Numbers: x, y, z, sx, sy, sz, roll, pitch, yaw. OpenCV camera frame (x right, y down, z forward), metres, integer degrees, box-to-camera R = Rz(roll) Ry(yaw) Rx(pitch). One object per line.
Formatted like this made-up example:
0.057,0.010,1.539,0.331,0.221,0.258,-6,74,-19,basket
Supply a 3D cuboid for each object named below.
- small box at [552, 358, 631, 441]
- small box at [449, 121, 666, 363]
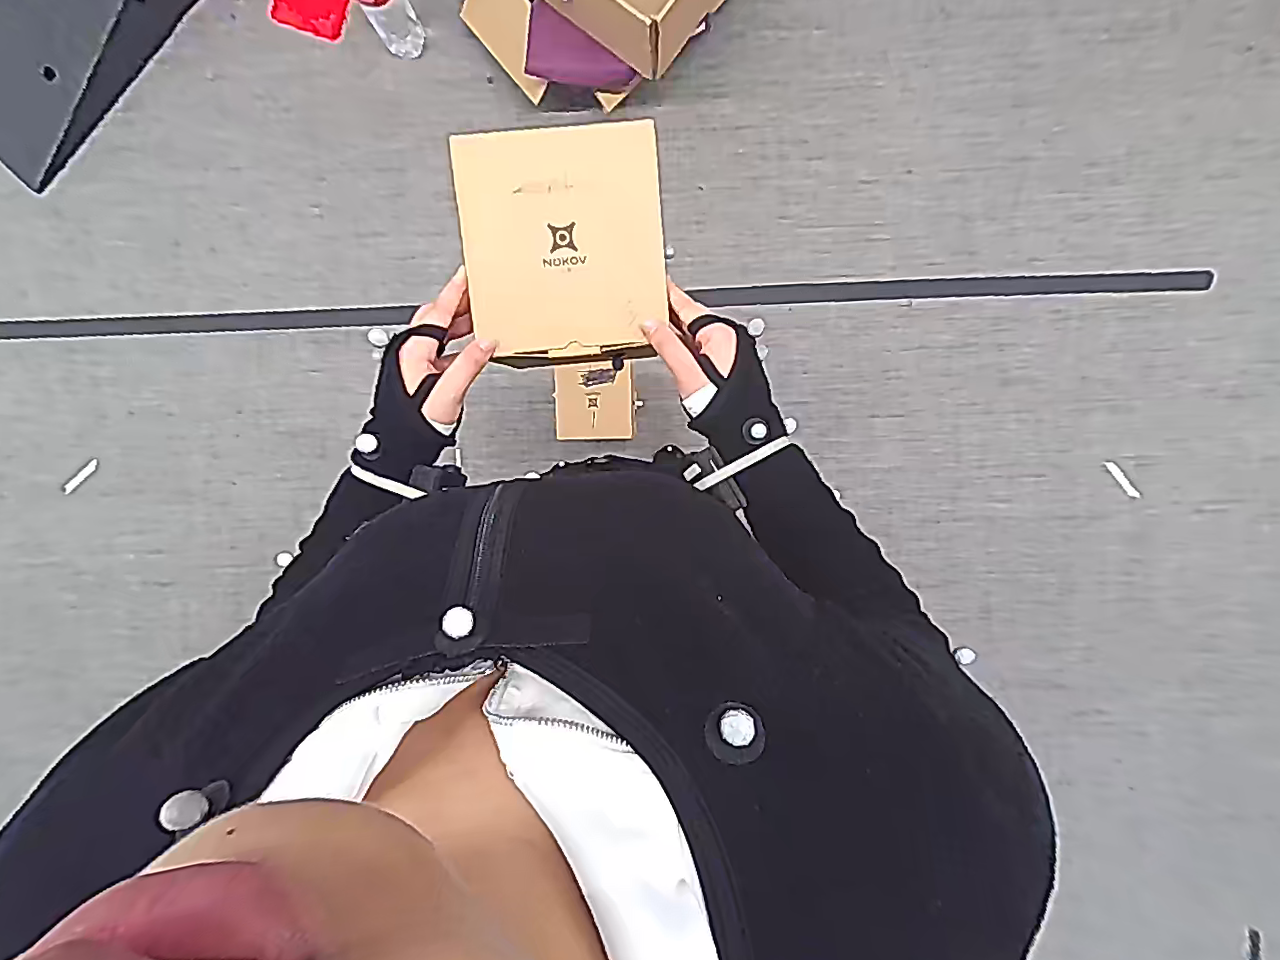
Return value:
-0.106,-0.179,1.238,0.168,0.176,0.179,-1,95,1,small box
-0.067,-0.208,0.522,0.168,0.176,0.179,-6,99,-2,small box
